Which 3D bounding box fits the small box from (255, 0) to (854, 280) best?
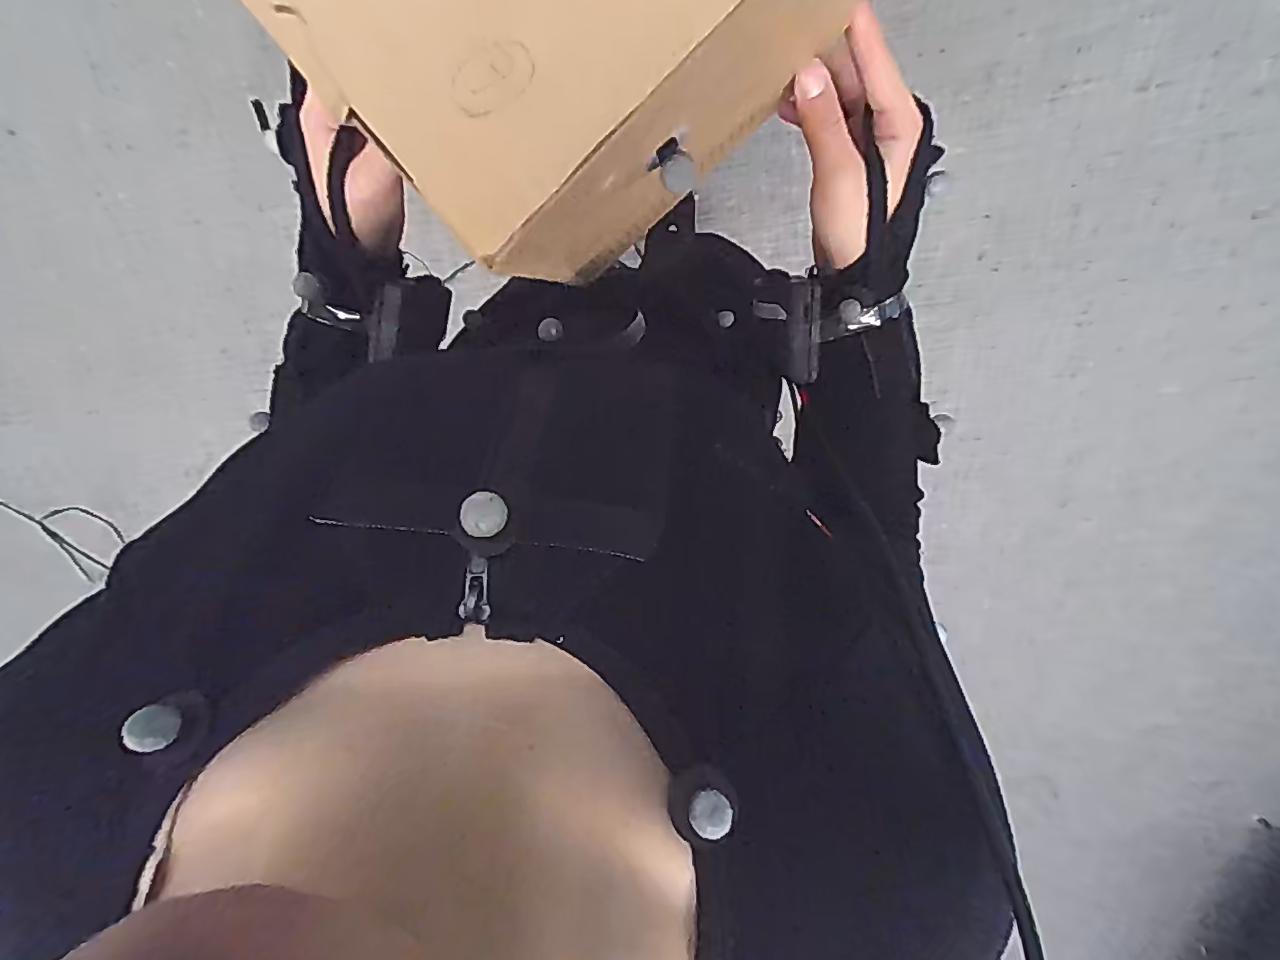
[{"bbox_3d":[-0.025,-0.200,0.215,0.179,0.176,0.168,-37,100,16],"label":"small box"}]
